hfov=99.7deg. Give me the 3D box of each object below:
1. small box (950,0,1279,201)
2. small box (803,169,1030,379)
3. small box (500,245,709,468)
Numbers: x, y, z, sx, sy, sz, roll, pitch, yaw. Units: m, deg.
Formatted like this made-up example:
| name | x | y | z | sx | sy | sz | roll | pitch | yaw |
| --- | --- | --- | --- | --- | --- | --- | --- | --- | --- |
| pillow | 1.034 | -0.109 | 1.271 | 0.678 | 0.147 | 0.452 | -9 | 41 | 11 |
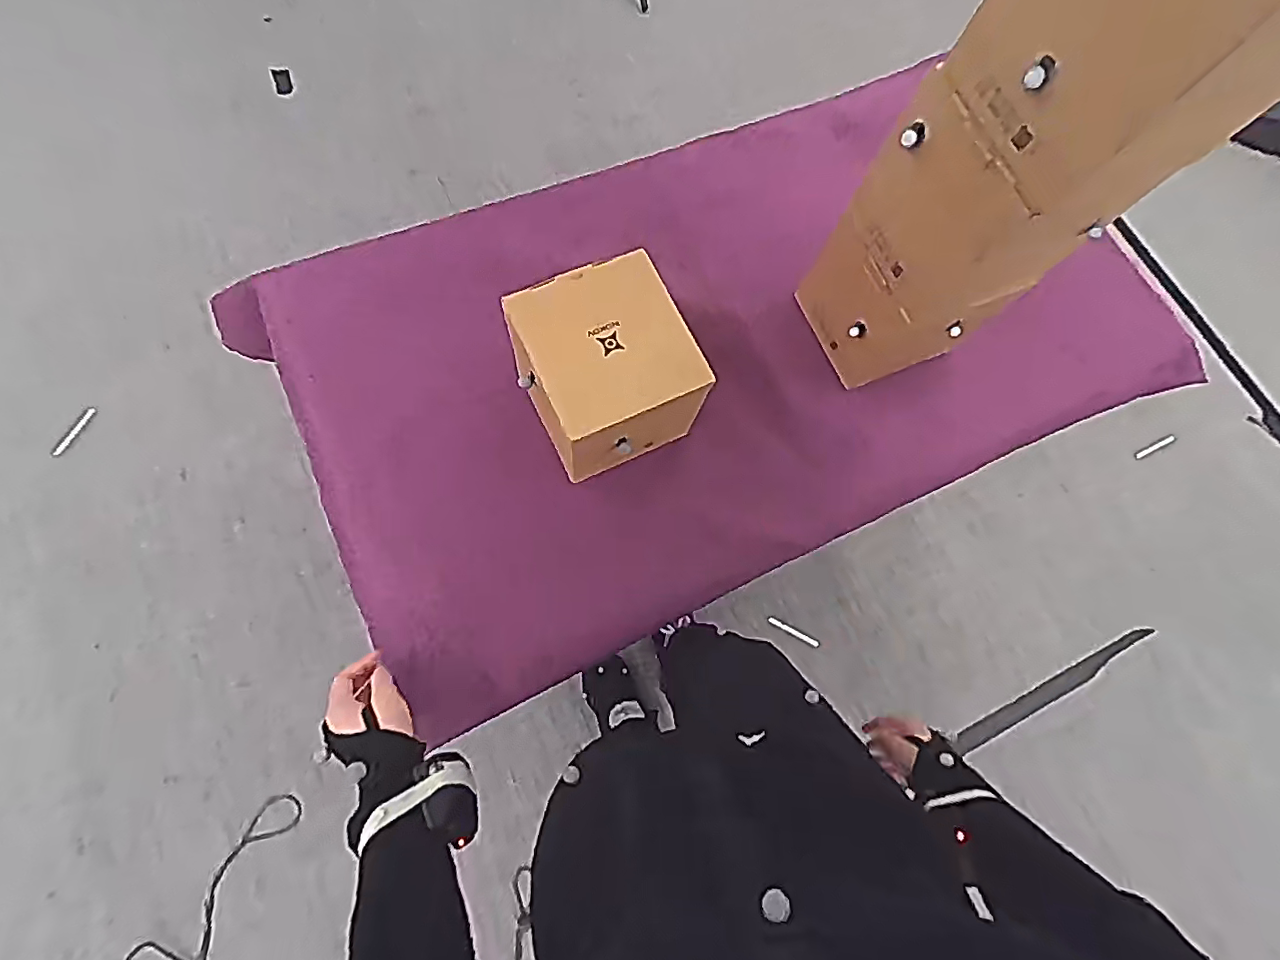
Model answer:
| name | x | y | z | sx | sy | sz | roll | pitch | yaw |
| --- | --- | --- | --- | --- | --- | --- | --- | --- | --- |
| small box | 0.375 | -0.341 | 0.386 | 0.179 | 0.176 | 0.168 | -22 | 78 | -10 |
| small box | 0.335 | -0.255 | 0.702 | 0.179 | 0.176 | 0.168 | -22 | 79 | -11 |
| small box | -0.042 | -0.128 | 0.633 | 0.168 | 0.176 | 0.179 | -25 | 78 | -11 |
